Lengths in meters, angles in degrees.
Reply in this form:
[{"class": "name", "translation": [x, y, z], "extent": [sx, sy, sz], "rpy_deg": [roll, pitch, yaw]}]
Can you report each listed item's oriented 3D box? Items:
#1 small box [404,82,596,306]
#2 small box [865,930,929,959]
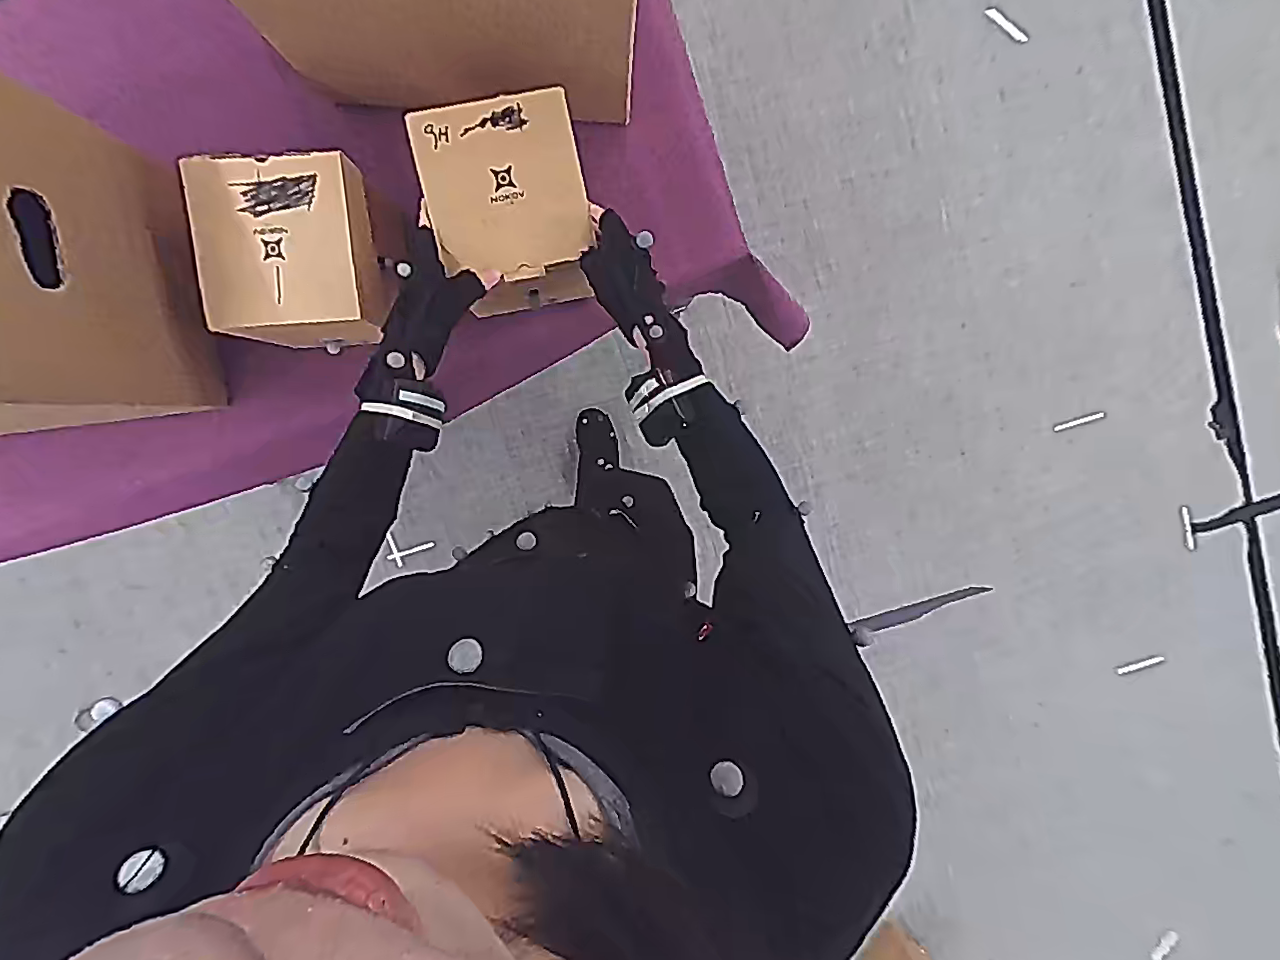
[{"class": "small box", "translation": [-0.146, -0.313, 0.633], "extent": [0.168, 0.176, 0.179], "rpy_deg": [-12, 97, -4]}, {"class": "small box", "translation": [0.815, 1.551, 1.656], "extent": [0.168, 0.176, 0.179], "rpy_deg": [36, 92, -8]}]
